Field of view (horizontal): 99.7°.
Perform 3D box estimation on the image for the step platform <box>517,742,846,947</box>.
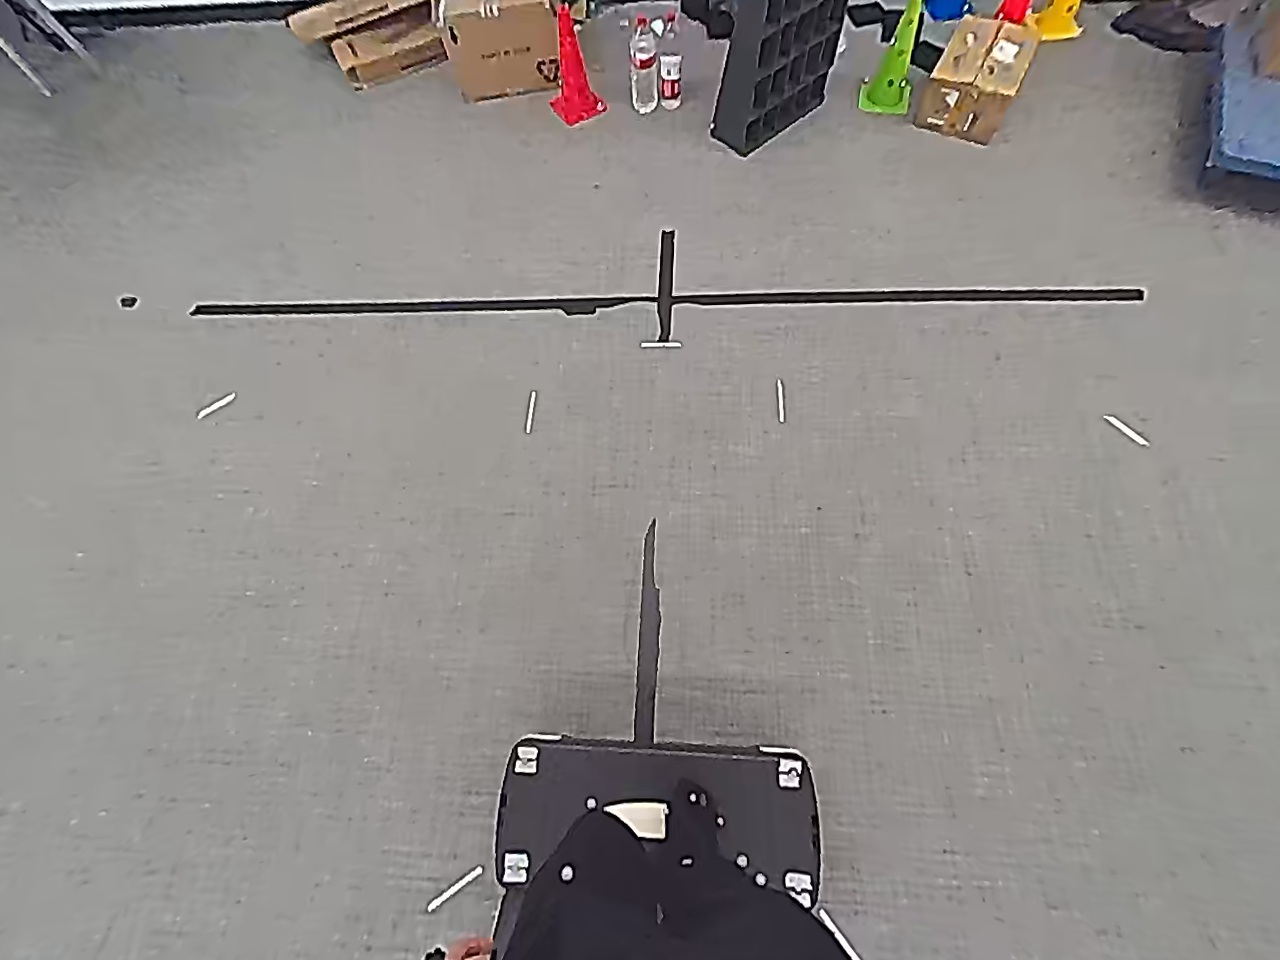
[{"bbox_3d":[0.085,0.768,1.176,0.684,0.204,0.286,5,65,5],"label":"step platform"}]
